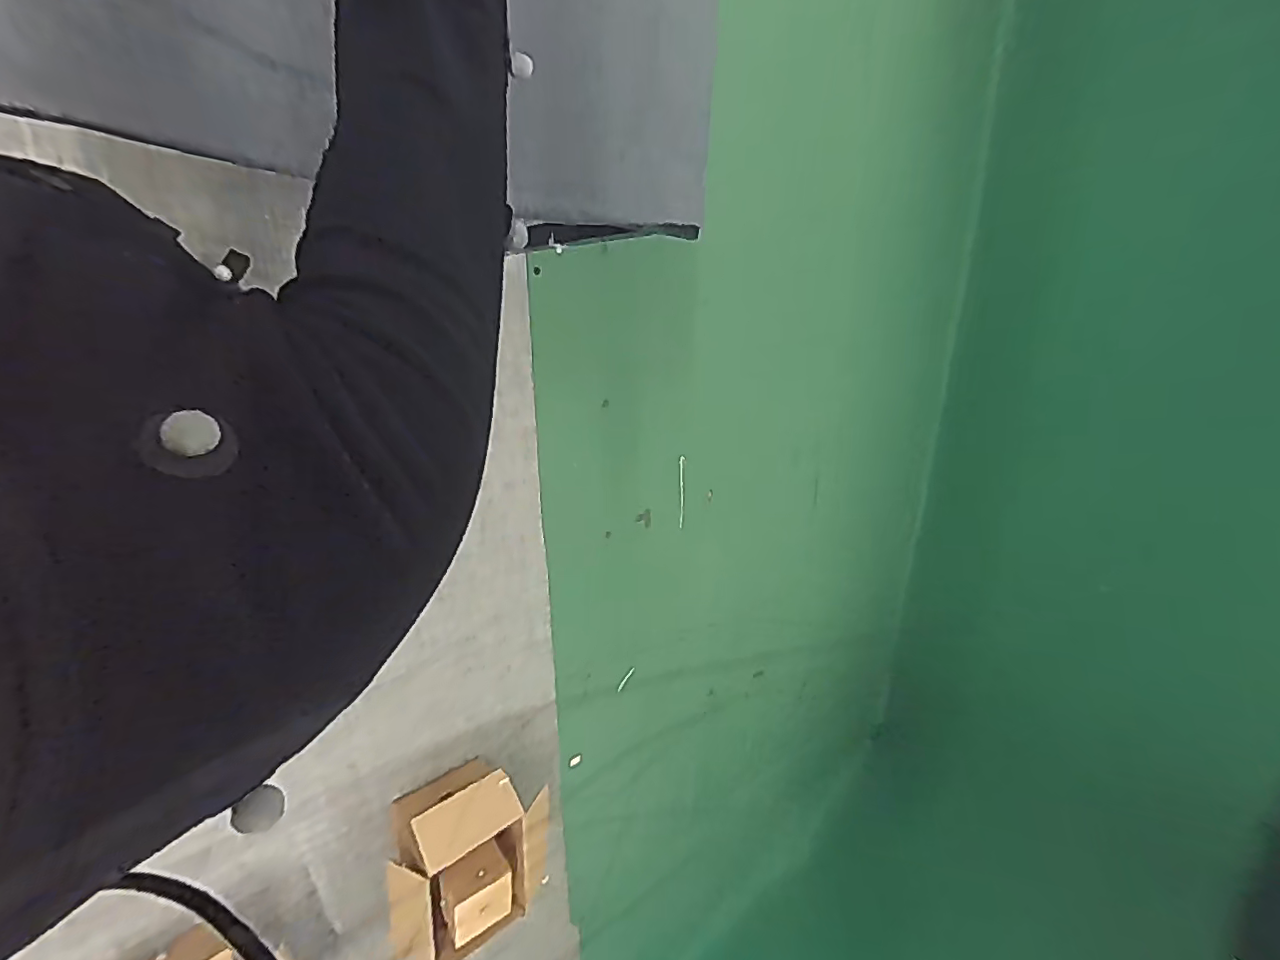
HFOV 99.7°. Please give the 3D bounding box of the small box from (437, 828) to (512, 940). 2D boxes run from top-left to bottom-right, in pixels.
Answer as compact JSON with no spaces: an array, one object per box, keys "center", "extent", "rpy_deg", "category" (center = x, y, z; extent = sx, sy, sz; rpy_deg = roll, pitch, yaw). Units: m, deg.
[{"center":[-0.510,1.223,1.650],"extent":[0.179,0.176,0.168],"rpy_deg":[-11,111,-40],"category":"small box"}]
